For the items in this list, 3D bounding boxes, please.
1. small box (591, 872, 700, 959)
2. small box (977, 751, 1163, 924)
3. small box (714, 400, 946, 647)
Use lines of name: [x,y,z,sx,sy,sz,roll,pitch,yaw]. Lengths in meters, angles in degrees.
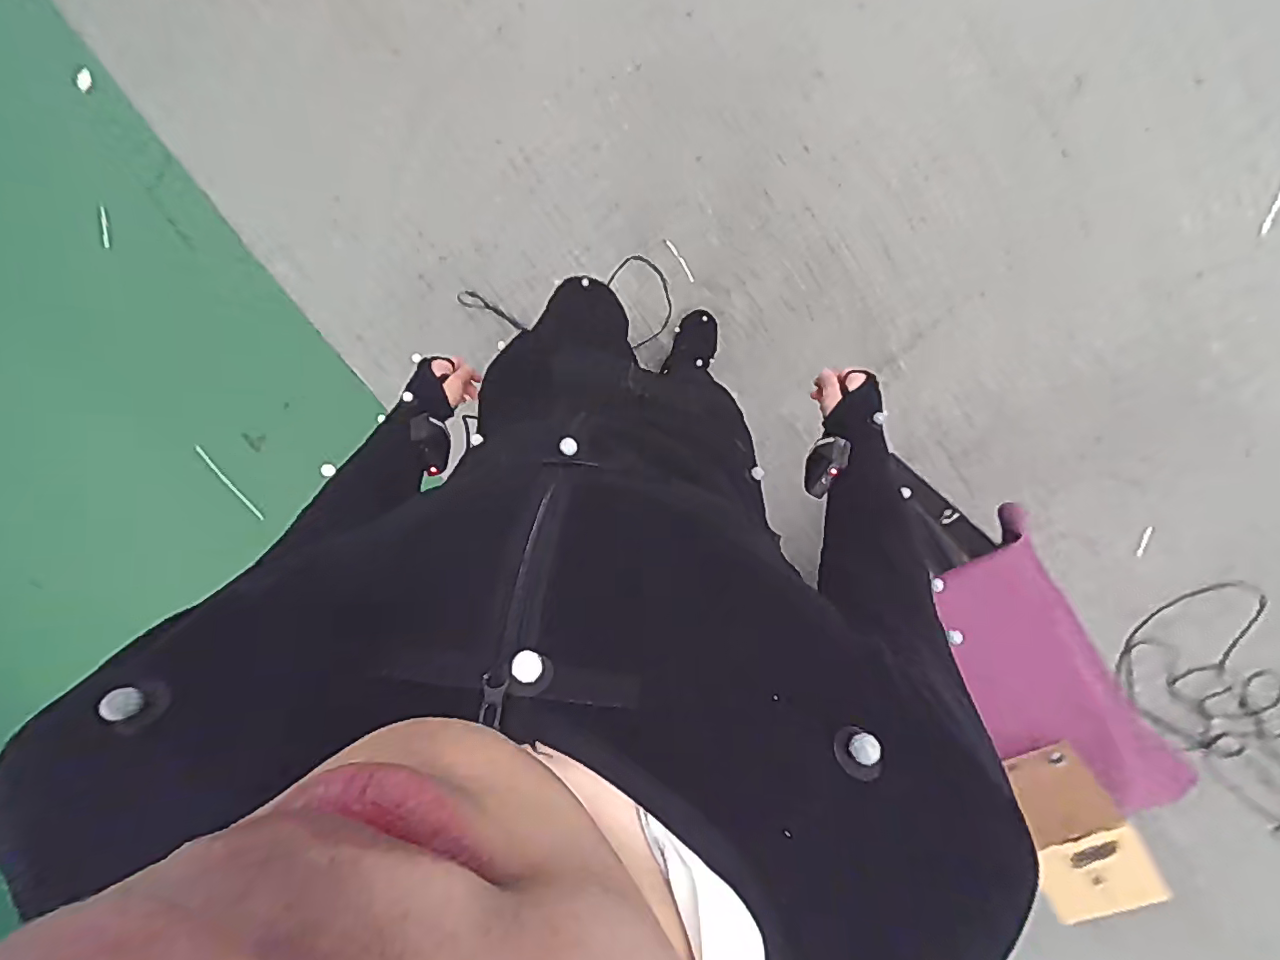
small box: [0.020,0.997,1.161,0.168,0.176,0.179,-34,103,15]
small box: [0.726,0.603,0.935,0.168,0.176,0.179,-30,102,16]
small box: [0.195,0.041,0.589,0.168,0.176,0.179,-39,96,21]
